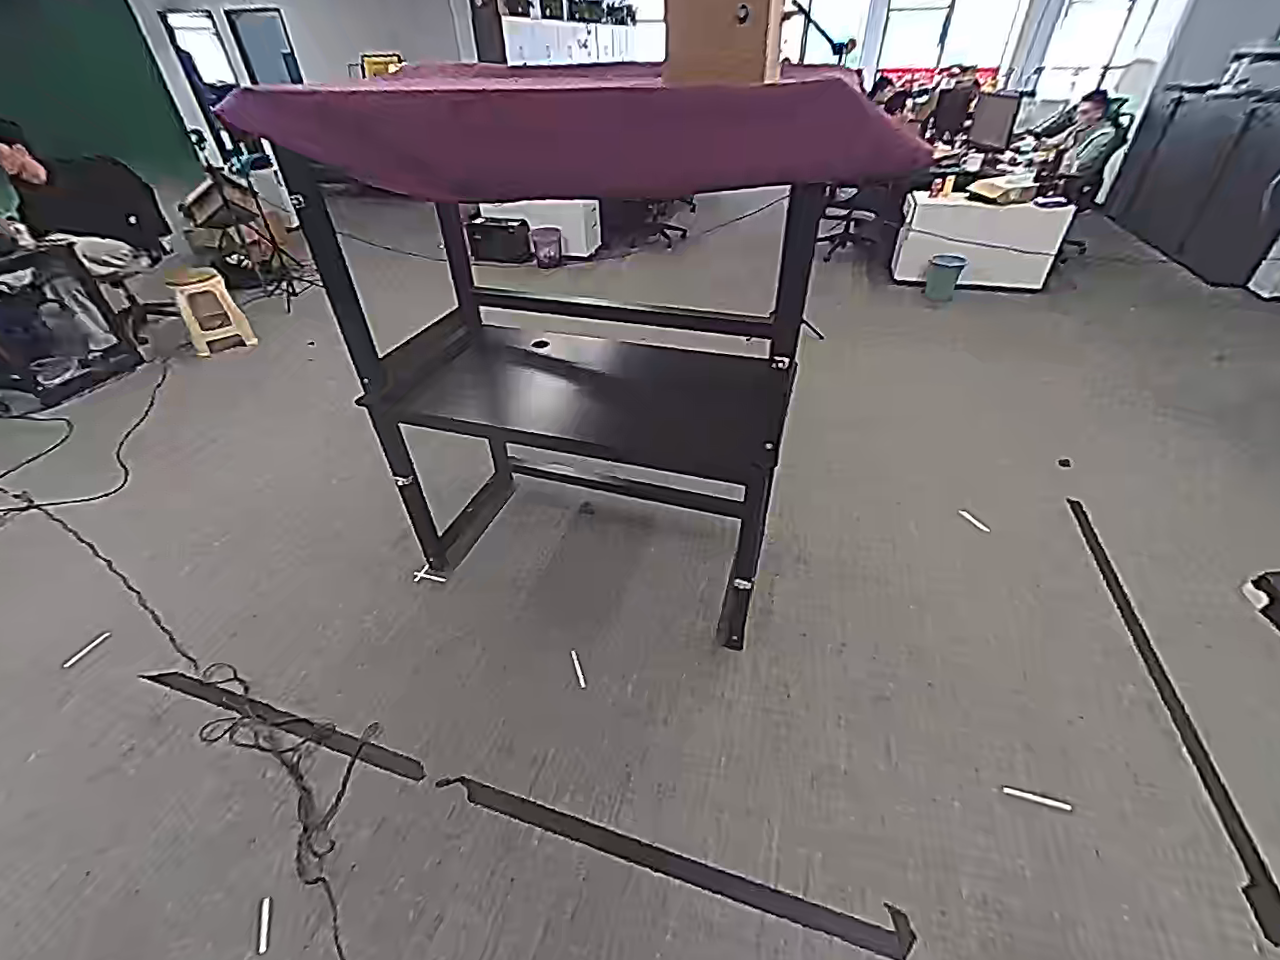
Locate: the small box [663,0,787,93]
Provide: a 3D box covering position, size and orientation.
[{"bbox_3d":[0.146,-0.756,0.900,0.179,0.176,0.168,11,39,17],"label":"small box"}]
